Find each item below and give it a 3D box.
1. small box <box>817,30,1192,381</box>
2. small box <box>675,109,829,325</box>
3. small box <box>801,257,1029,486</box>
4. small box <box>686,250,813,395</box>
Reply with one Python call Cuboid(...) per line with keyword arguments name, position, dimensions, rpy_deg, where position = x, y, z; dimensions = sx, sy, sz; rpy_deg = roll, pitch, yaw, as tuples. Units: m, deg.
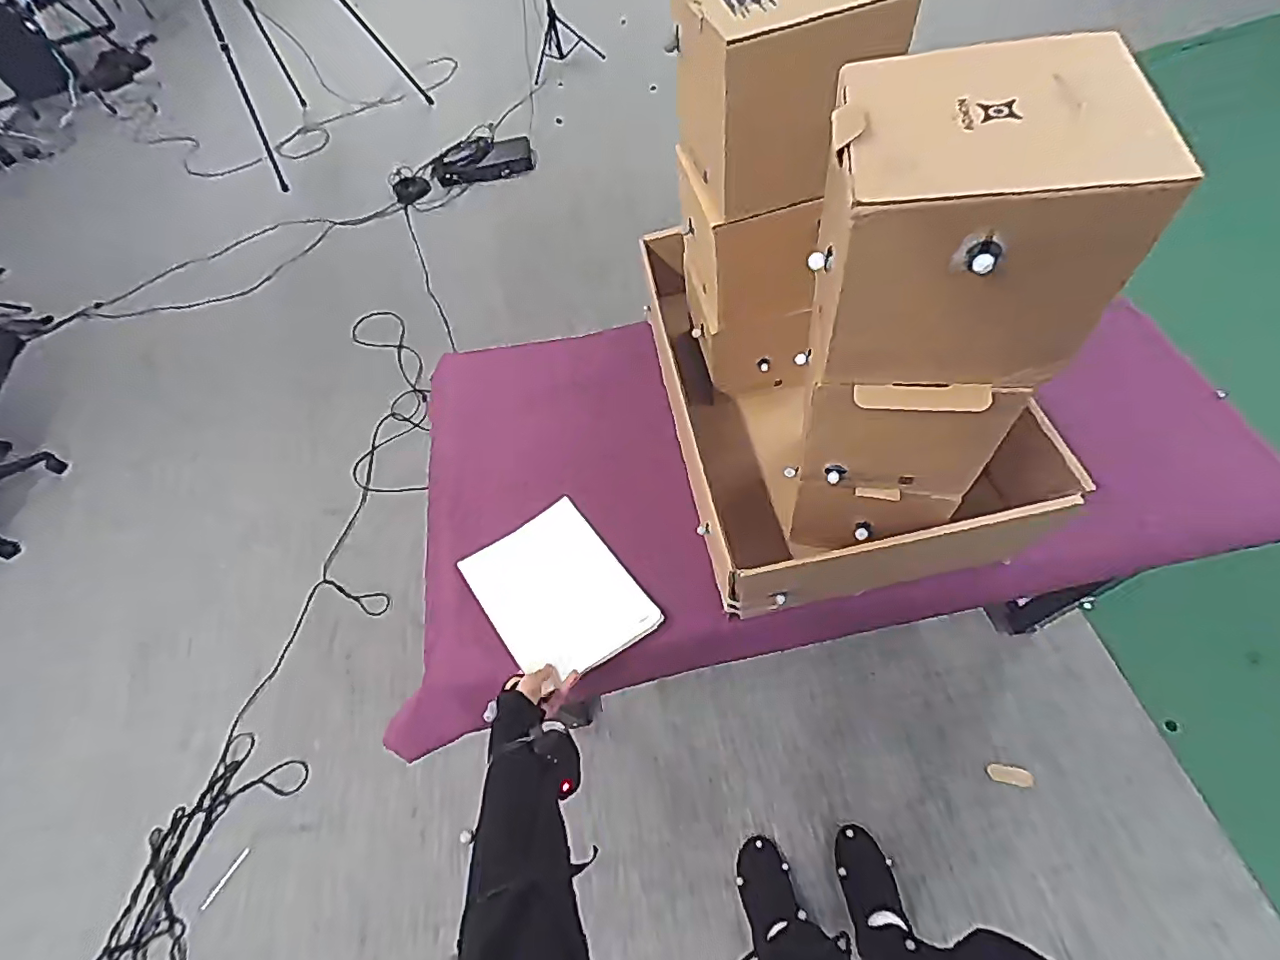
Cuboid(name="small box", position=(0.229, -0.188, 0.404), dimensions=(0.179, 0.176, 0.168), rpy_deg=(3, 61, 13))
Cuboid(name="small box", position=(0.155, -0.327, 0.695), dimensions=(0.179, 0.176, 0.168), rpy_deg=(-15, 60, 1))
Cuboid(name="small box", position=(0.255, -0.110, 0.544), dimensions=(0.168, 0.176, 0.179), rpy_deg=(5, 60, 15))
Cuboid(name="small box", position=(0.173, -0.251, 0.836), dimensions=(0.168, 0.176, 0.179), rpy_deg=(-13, 61, 3))
